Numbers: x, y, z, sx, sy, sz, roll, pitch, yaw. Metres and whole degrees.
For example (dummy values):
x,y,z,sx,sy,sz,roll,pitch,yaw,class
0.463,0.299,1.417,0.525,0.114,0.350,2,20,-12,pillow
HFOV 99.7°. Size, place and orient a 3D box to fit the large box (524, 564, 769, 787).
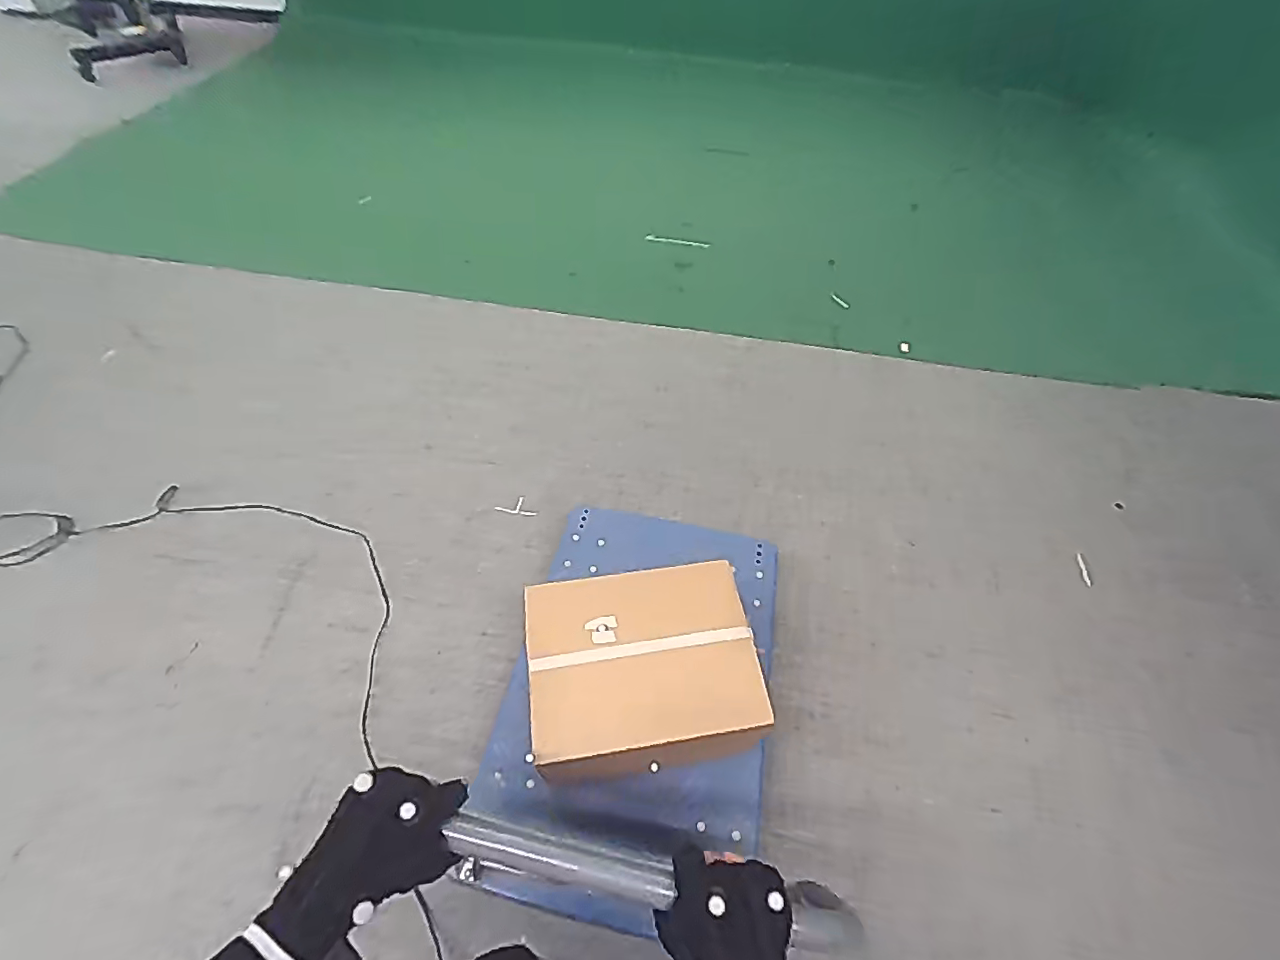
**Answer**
x,y,z,sx,sy,sz,roll,pitch,yaw,class
-0.003,0.402,1.098,0.408,0.320,0.320,-7,54,-7,large box
